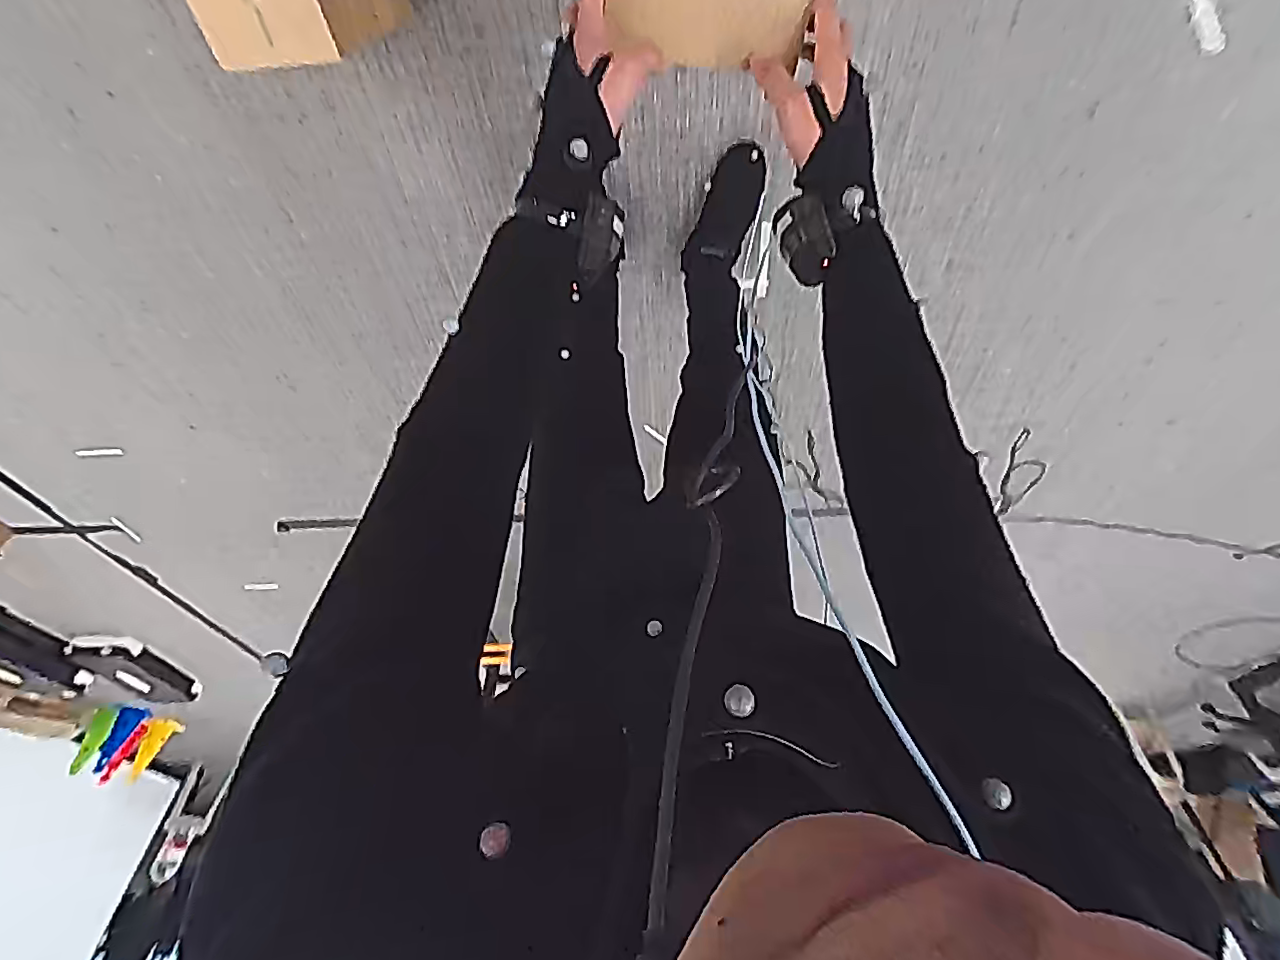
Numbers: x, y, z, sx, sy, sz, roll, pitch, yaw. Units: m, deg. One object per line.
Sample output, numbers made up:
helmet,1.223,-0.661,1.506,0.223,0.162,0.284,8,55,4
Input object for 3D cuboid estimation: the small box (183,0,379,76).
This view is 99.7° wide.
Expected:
small box,-0.473,-0.651,0.697,0.168,0.176,0.179,-2,138,4

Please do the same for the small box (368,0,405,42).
small box,-0.476,-0.771,0.810,0.179,0.176,0.168,-2,138,4

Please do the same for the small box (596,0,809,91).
small box,0.051,-0.453,0.448,0.168,0.176,0.179,2,135,-6
